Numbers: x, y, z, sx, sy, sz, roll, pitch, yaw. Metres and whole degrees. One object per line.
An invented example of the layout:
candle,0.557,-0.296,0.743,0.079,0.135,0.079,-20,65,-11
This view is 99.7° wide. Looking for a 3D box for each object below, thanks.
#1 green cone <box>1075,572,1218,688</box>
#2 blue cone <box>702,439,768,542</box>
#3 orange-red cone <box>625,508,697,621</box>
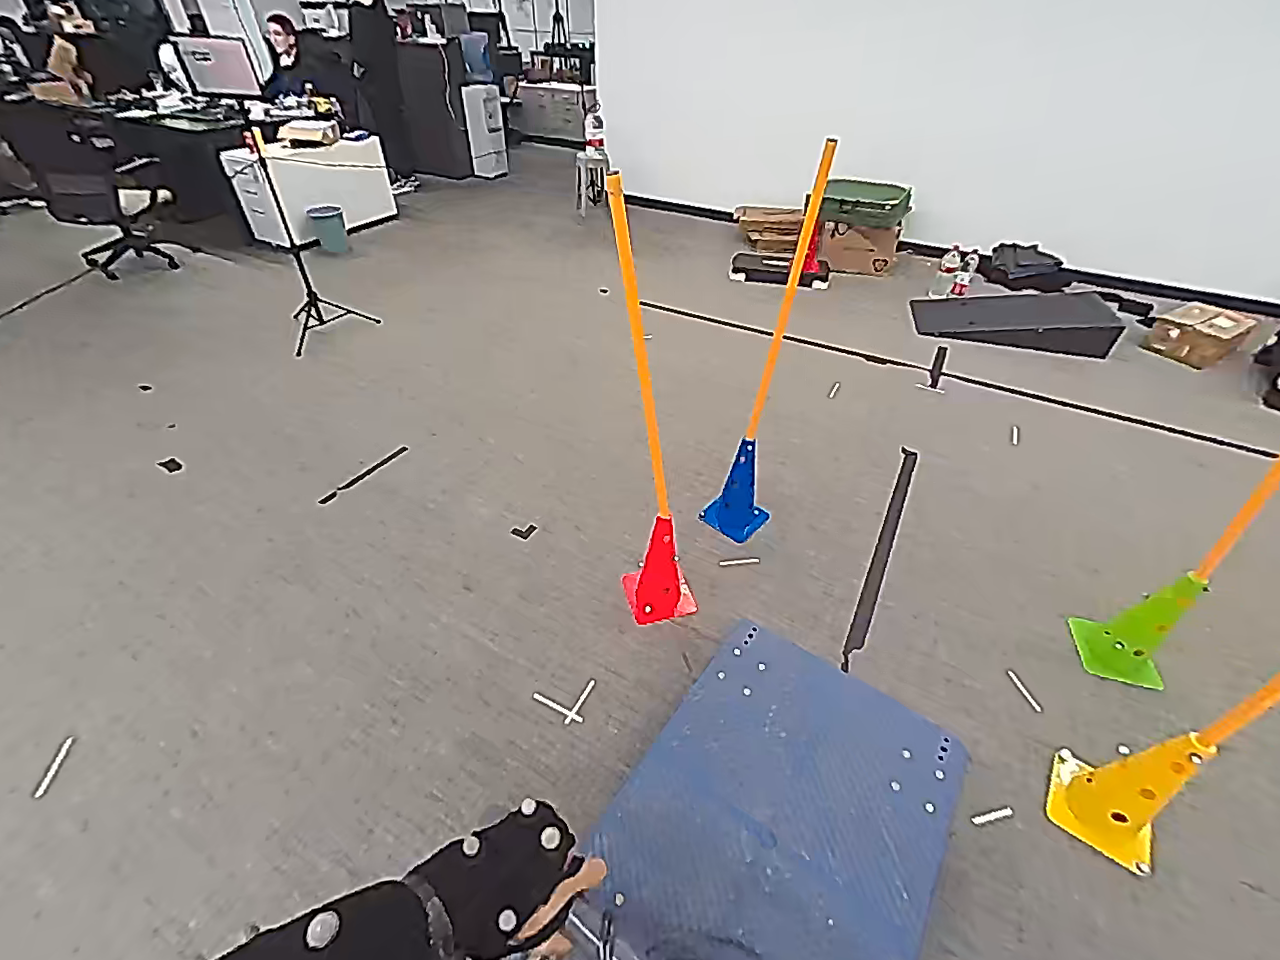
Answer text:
green cone,1.404,0.371,1.462,0.200,0.368,0.202,11,43,11
blue cone,0.350,0.012,1.860,0.193,0.380,0.192,33,51,31
orange-red cone,0.070,0.221,1.587,0.199,0.360,0.198,-8,43,-14
